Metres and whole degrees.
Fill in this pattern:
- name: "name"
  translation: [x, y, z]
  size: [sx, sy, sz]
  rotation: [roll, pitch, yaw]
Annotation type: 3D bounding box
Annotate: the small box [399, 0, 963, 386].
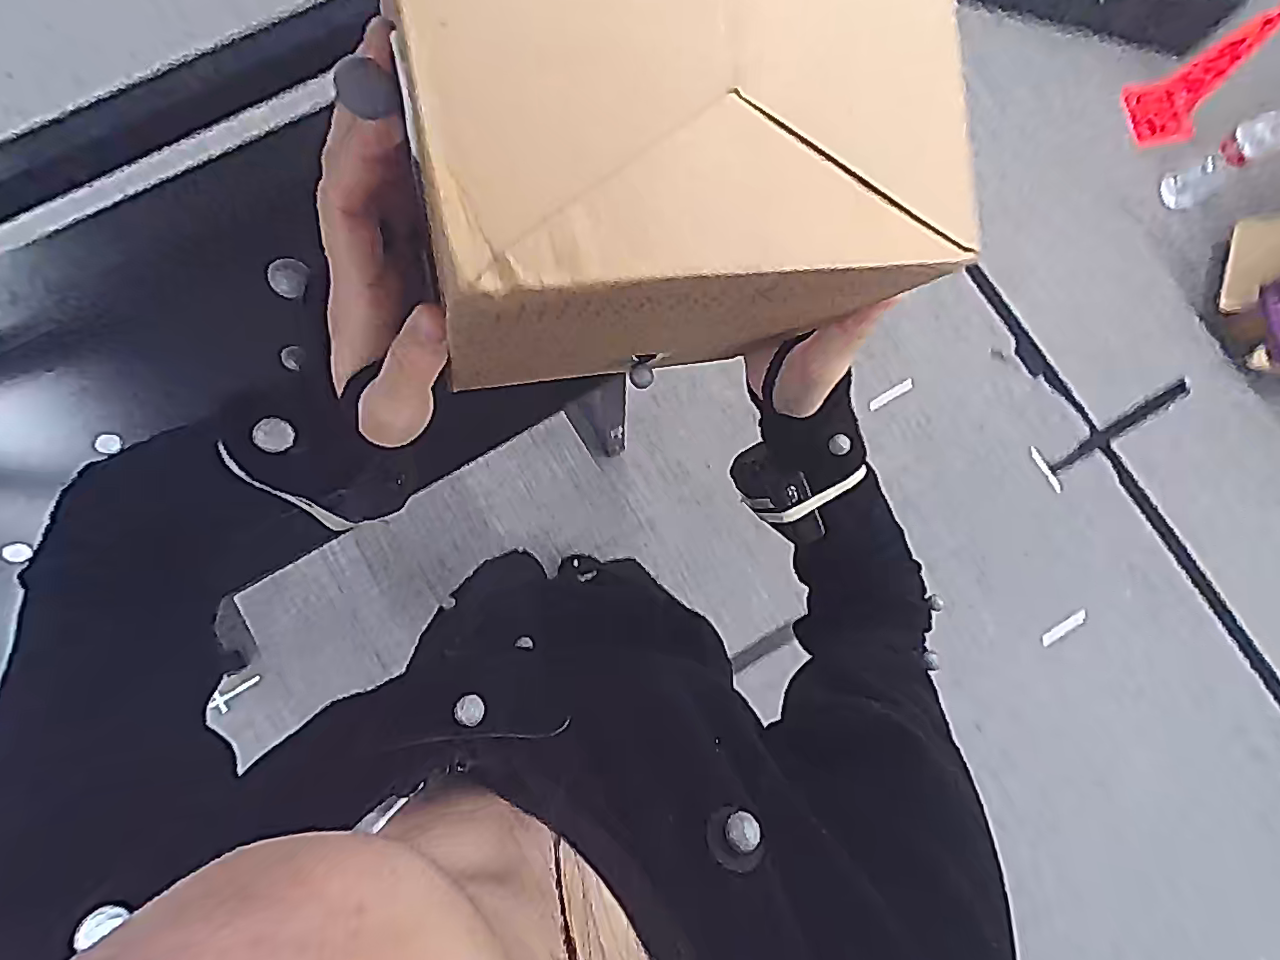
- name: "small box"
  translation: [0.000, -0.144, 0.233]
  size: [0.179, 0.176, 0.168]
  rotation: [-9, 91, -19]
